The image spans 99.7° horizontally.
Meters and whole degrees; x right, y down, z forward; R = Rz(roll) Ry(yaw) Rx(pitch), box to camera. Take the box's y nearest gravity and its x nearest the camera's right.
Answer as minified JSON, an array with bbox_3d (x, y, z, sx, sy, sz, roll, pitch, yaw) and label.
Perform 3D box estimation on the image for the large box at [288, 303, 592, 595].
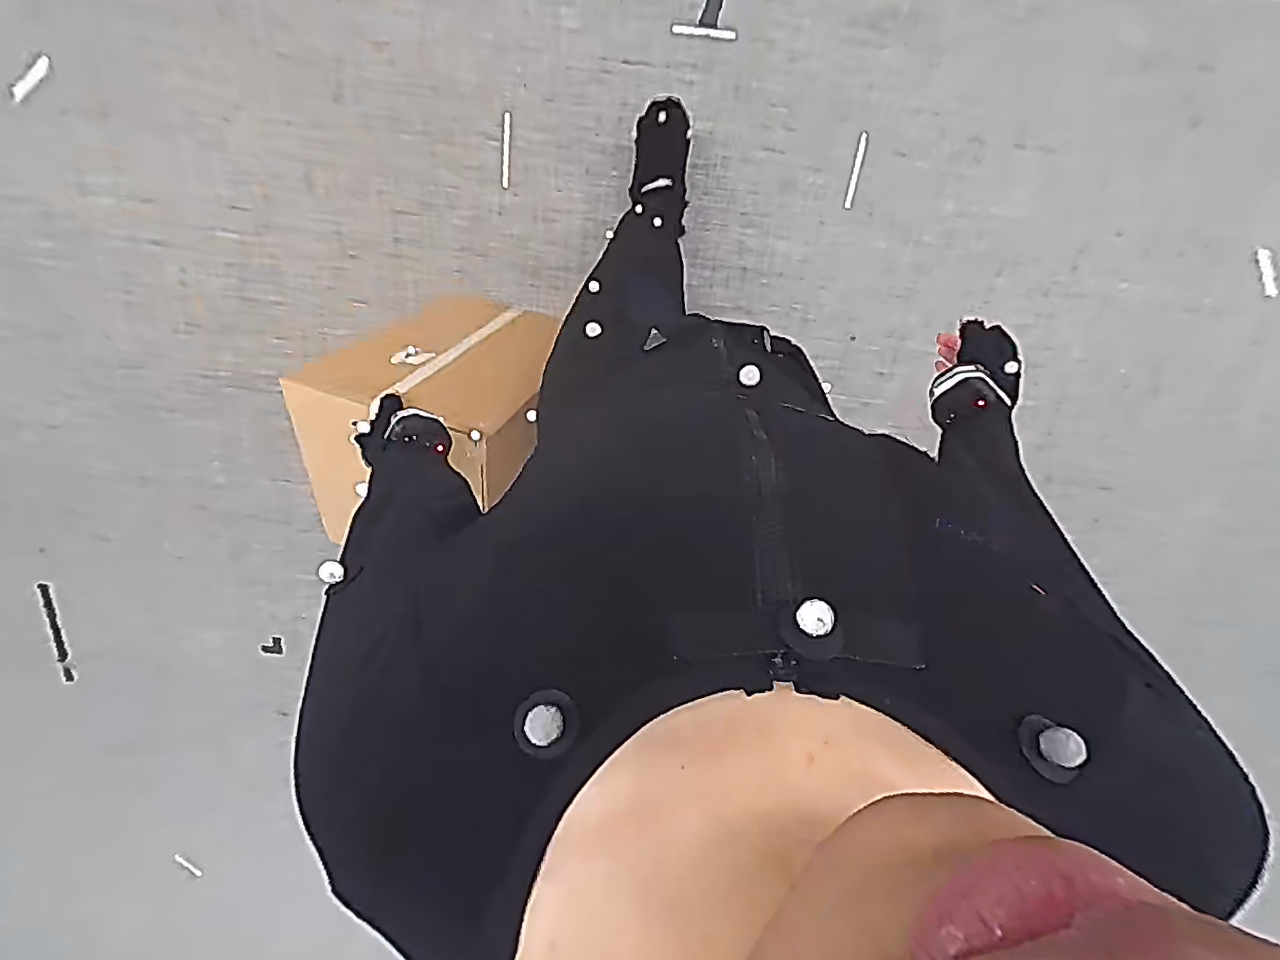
[{"bbox_3d":[-0.306,-0.076,0.964,0.320,0.408,0.320,16,128,11],"label":"large box"}]
